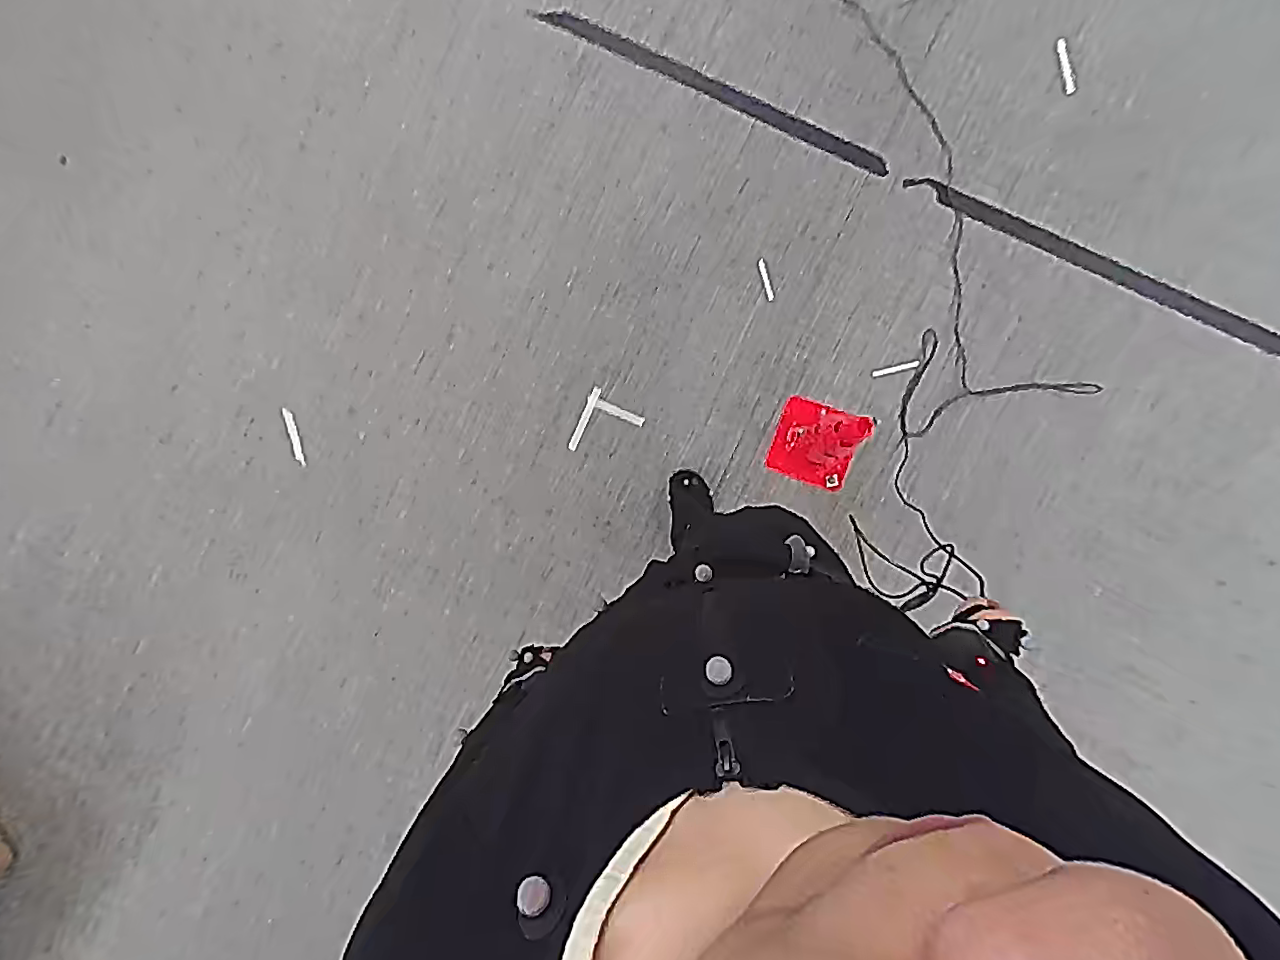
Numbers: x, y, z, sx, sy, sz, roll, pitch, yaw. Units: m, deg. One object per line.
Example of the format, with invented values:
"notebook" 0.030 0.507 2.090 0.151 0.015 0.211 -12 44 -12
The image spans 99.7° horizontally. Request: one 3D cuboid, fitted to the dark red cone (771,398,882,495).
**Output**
"dark red cone" 0.422 -0.089 1.146 0.202 0.394 0.201 19 89 4
